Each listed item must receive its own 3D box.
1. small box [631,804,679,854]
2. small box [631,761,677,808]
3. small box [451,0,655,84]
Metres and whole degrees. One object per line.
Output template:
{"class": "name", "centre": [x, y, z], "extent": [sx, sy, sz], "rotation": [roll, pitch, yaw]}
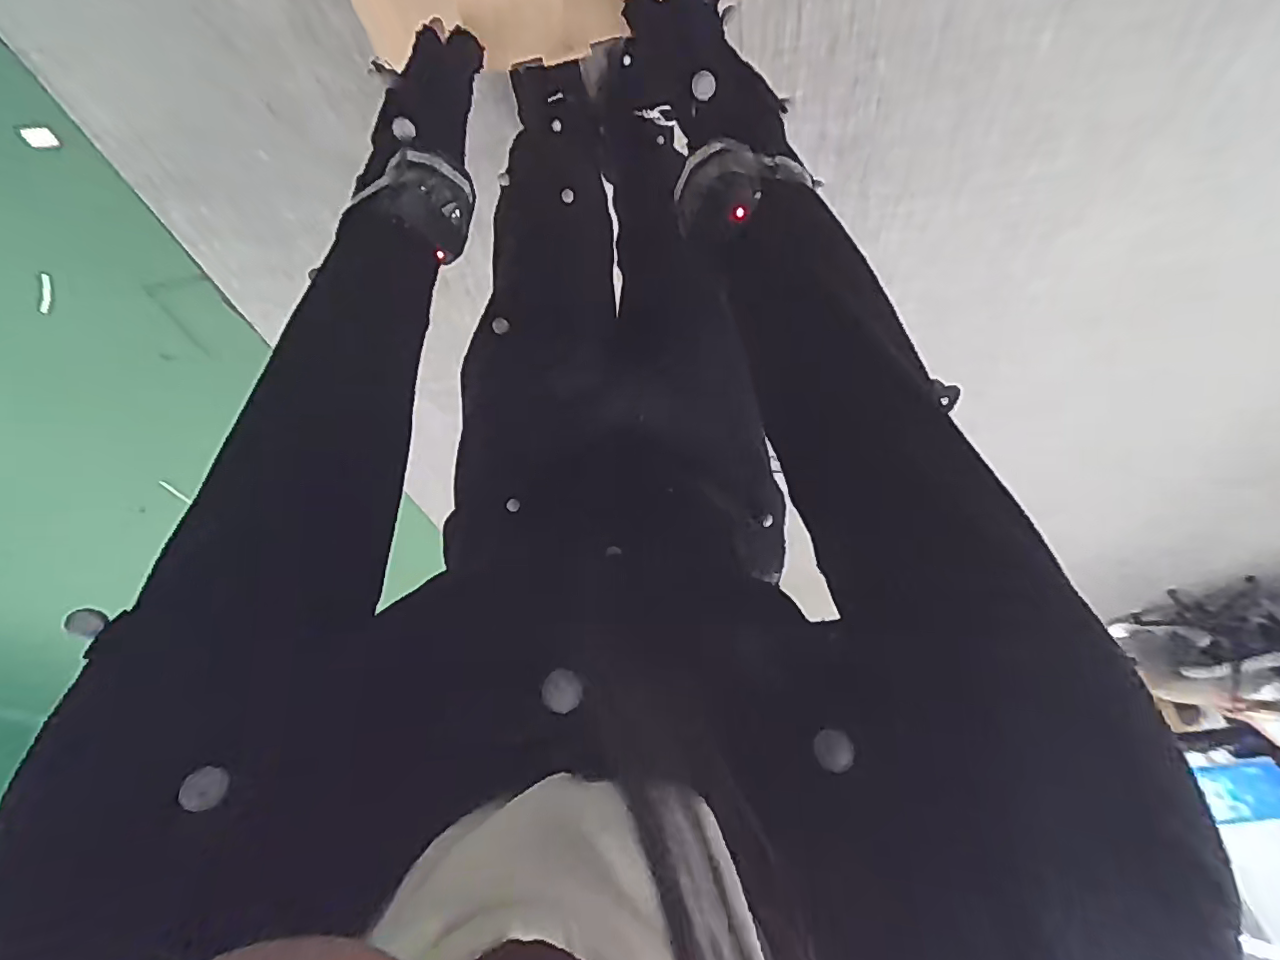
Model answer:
{"class": "small box", "centre": [0.064, 1.480, 2.291], "extent": [0.179, 0.176, 0.168], "rotation": [-10, 144, 9]}
{"class": "small box", "centre": [0.062, 1.348, 2.389], "extent": [0.179, 0.176, 0.168], "rotation": [-8, 145, 6]}
{"class": "small box", "centre": [-0.084, -0.485, 0.455], "extent": [0.168, 0.176, 0.179], "rotation": [-9, 147, 7]}
